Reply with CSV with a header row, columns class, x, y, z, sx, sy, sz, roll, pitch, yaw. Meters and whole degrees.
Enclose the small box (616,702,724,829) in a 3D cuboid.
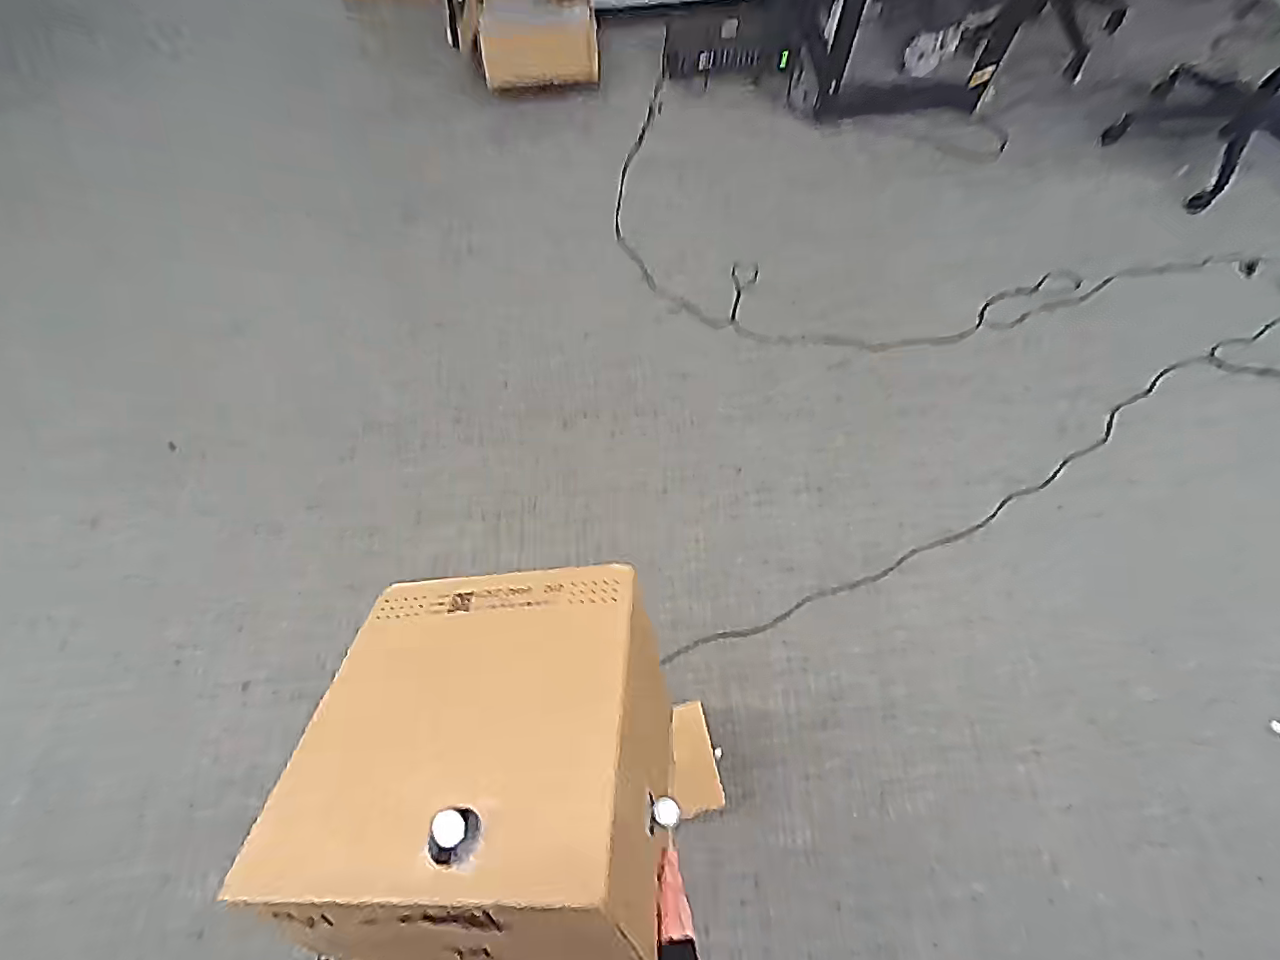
class,x,y,z,sx,sy,sz,roll,pitch,yaw
small box,0.050,0.540,1.039,0.168,0.176,0.179,-12,67,-4
